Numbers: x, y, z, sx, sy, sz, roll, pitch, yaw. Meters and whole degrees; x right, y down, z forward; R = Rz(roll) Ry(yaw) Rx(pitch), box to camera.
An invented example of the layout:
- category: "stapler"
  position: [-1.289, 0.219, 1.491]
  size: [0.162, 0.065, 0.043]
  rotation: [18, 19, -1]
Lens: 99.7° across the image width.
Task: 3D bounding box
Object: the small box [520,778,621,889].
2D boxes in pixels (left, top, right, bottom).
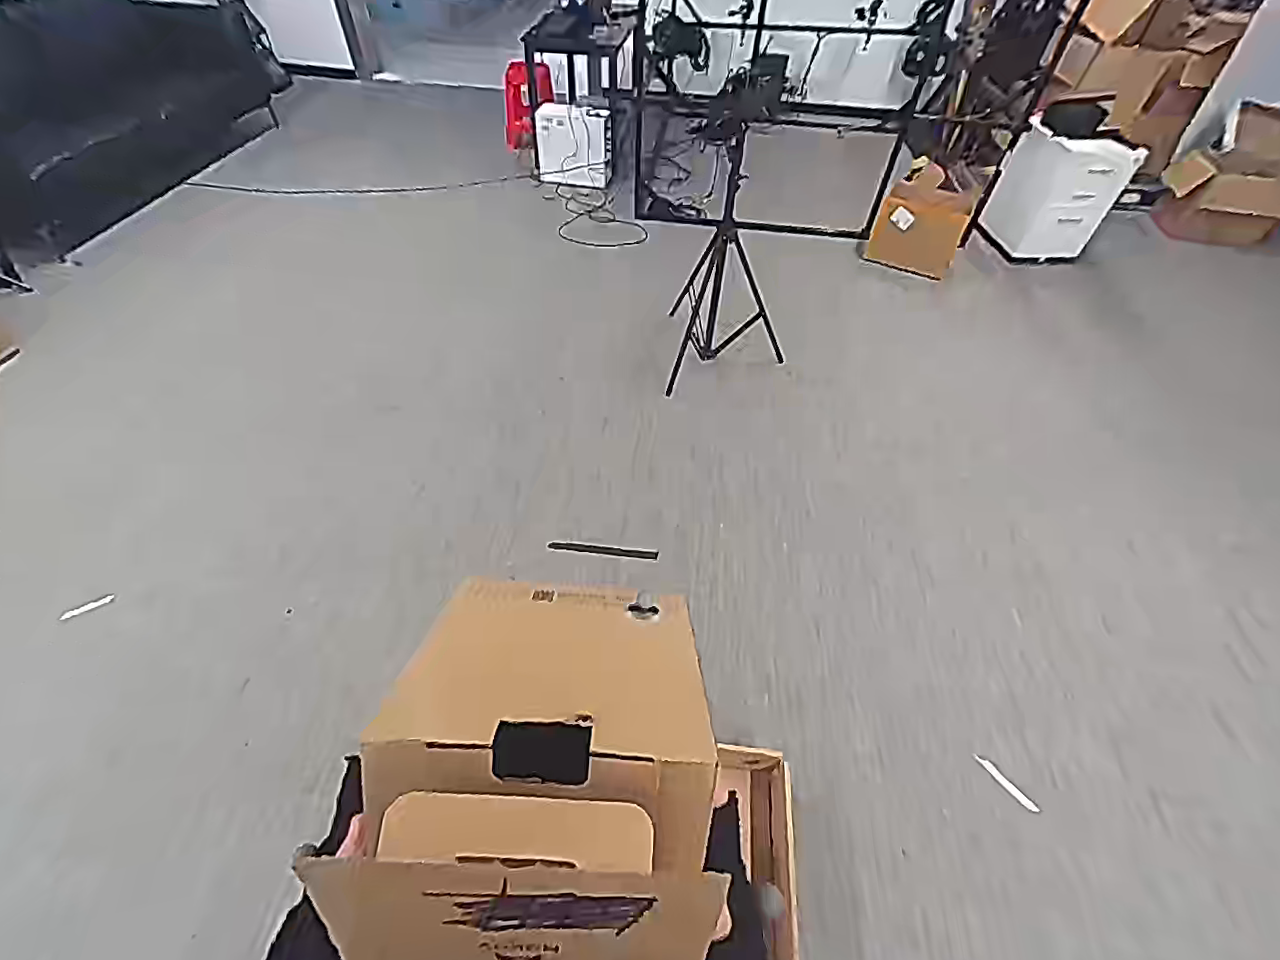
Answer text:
- category: "small box"
  position: [-0.142, 0.766, 1.168]
  size: [0.179, 0.176, 0.168]
  rotation: [9, 49, 4]

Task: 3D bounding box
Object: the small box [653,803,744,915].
- category: "small box"
  position: [0.122, 0.805, 1.146]
  size: [0.179, 0.176, 0.168]
  rotation: [5, 50, 5]
